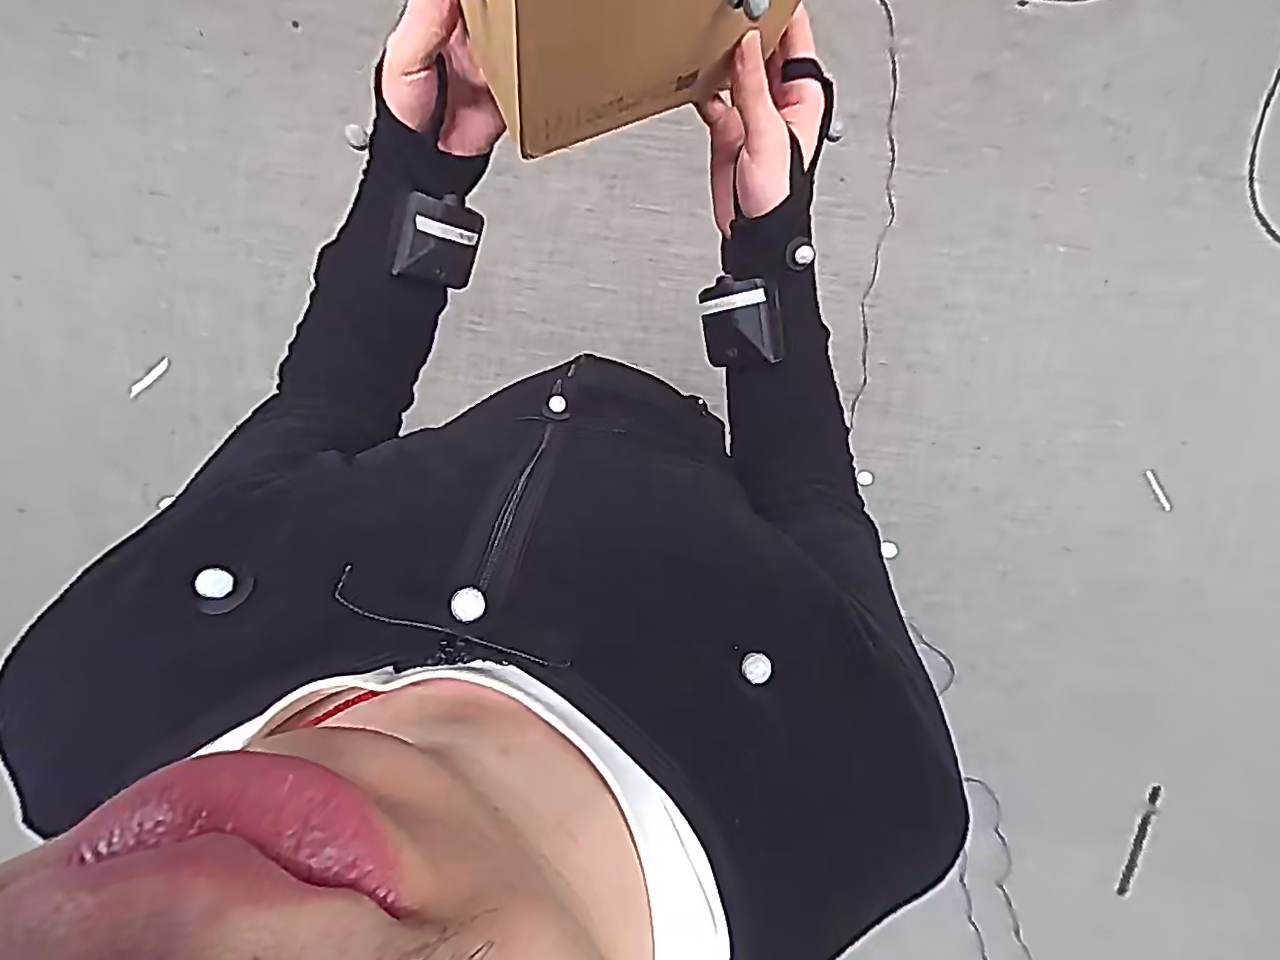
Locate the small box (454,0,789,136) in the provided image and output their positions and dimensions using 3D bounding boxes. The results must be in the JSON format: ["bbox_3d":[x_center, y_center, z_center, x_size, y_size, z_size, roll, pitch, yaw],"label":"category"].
[{"bbox_3d":[-0.015,-0.303,0.258,0.168,0.176,0.179,-25,96,-11],"label":"small box"}]
